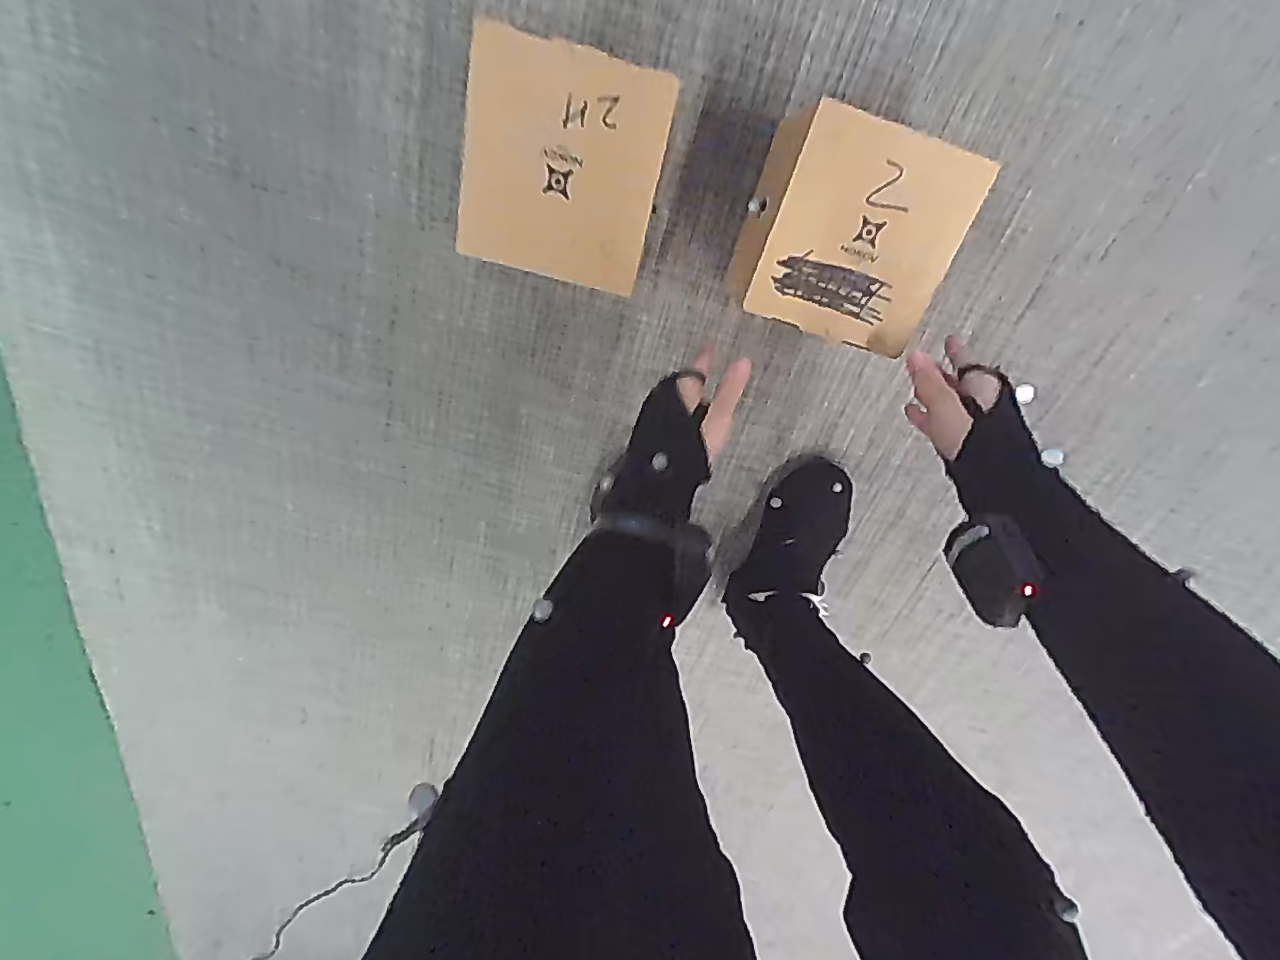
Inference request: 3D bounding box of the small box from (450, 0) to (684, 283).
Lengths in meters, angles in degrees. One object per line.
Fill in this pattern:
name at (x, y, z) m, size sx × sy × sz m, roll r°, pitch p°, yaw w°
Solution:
small box at (-0.063, -0.309, 0.510) m, size 0.168 × 0.176 × 0.179 m, roll 15°, pitch 118°, yaw -6°
